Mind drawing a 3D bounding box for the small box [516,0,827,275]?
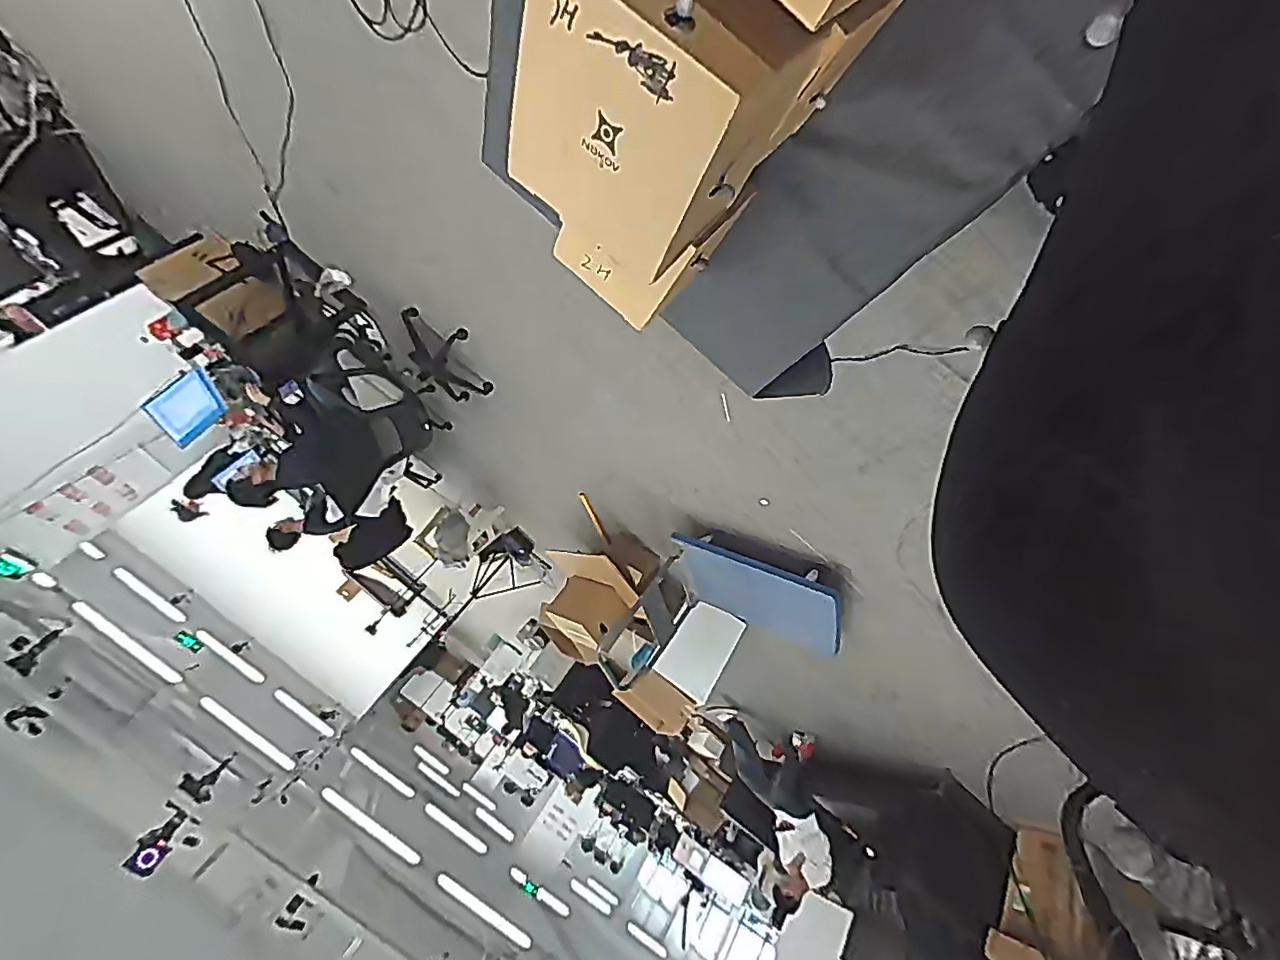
[{"bbox_3d":[0.022,-0.319,0.447,0.168,0.176,0.179,38,152,-1],"label":"small box"}]
